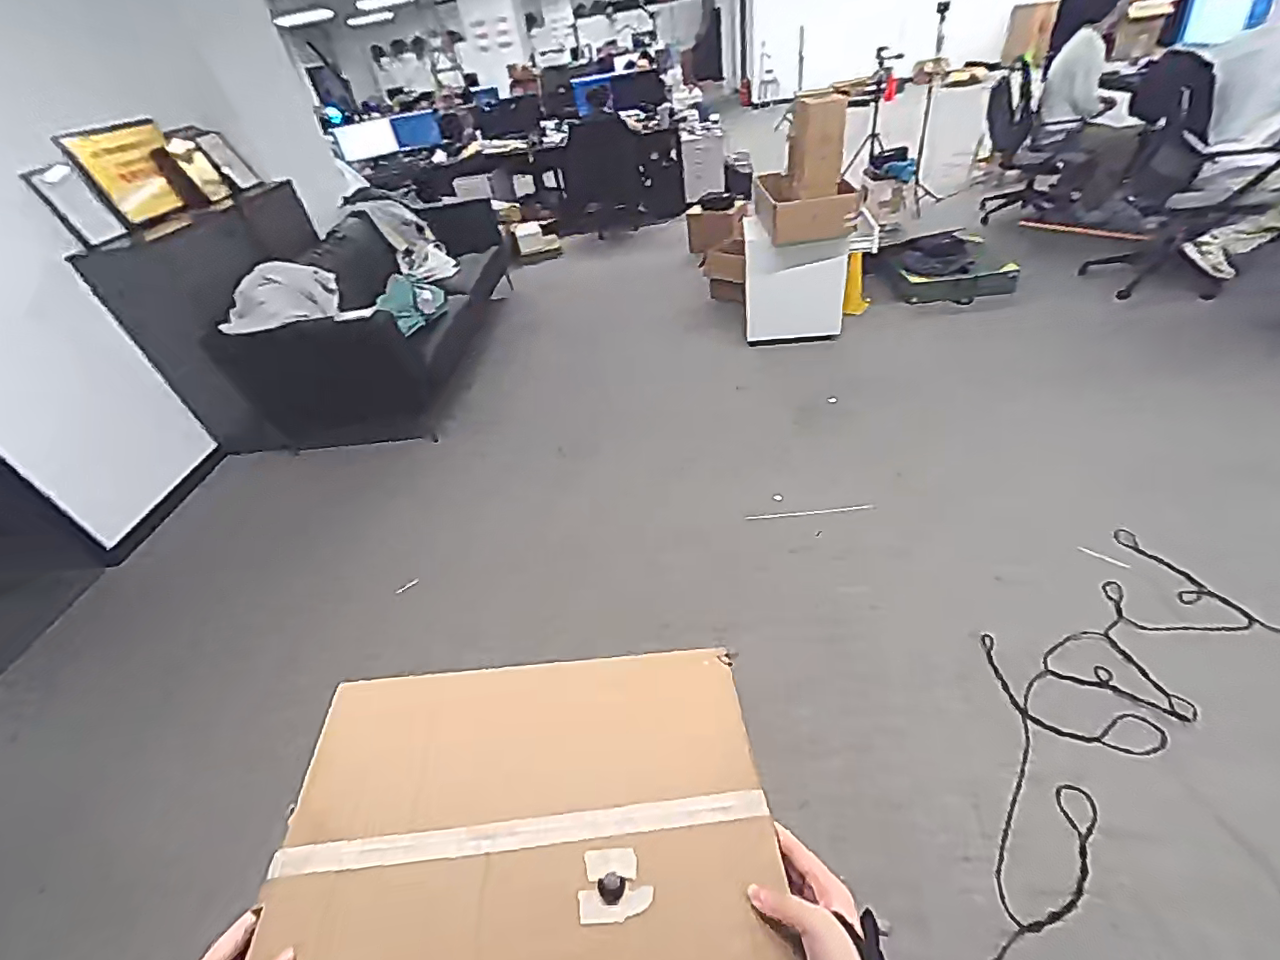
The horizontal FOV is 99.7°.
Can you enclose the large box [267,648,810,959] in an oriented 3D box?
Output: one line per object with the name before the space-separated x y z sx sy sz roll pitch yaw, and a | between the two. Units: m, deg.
large box | -0.088 0.410 0.561 0.408 0.320 0.320 -3 41 -5
